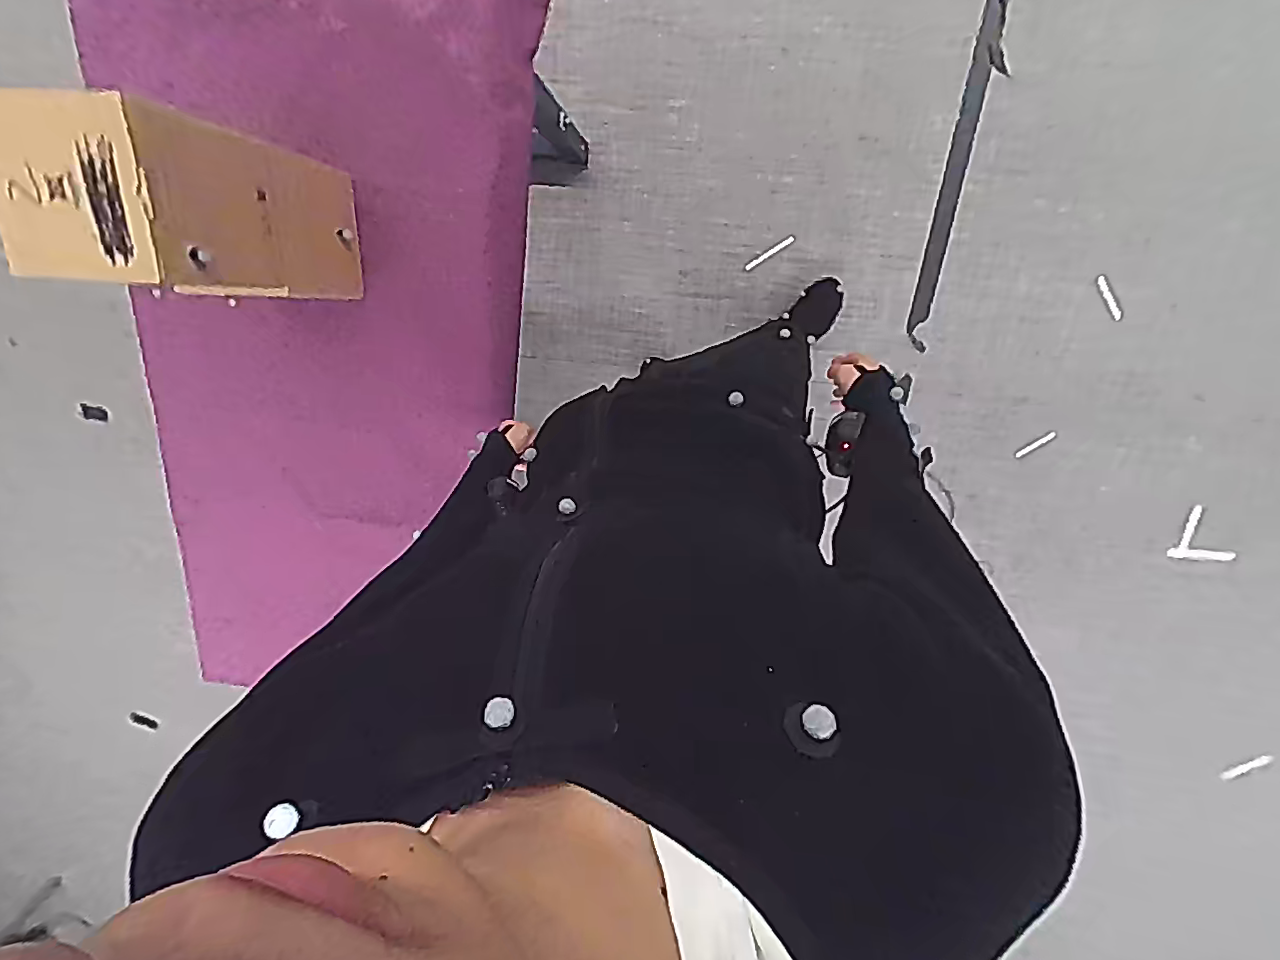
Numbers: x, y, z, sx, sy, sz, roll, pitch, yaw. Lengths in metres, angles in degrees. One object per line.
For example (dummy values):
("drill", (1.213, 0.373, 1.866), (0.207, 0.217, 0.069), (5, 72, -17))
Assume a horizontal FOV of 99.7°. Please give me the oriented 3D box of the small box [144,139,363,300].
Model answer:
("small box", (-0.514, -0.346, 0.746), (0.168, 0.176, 0.179), (4, 107, 6))
